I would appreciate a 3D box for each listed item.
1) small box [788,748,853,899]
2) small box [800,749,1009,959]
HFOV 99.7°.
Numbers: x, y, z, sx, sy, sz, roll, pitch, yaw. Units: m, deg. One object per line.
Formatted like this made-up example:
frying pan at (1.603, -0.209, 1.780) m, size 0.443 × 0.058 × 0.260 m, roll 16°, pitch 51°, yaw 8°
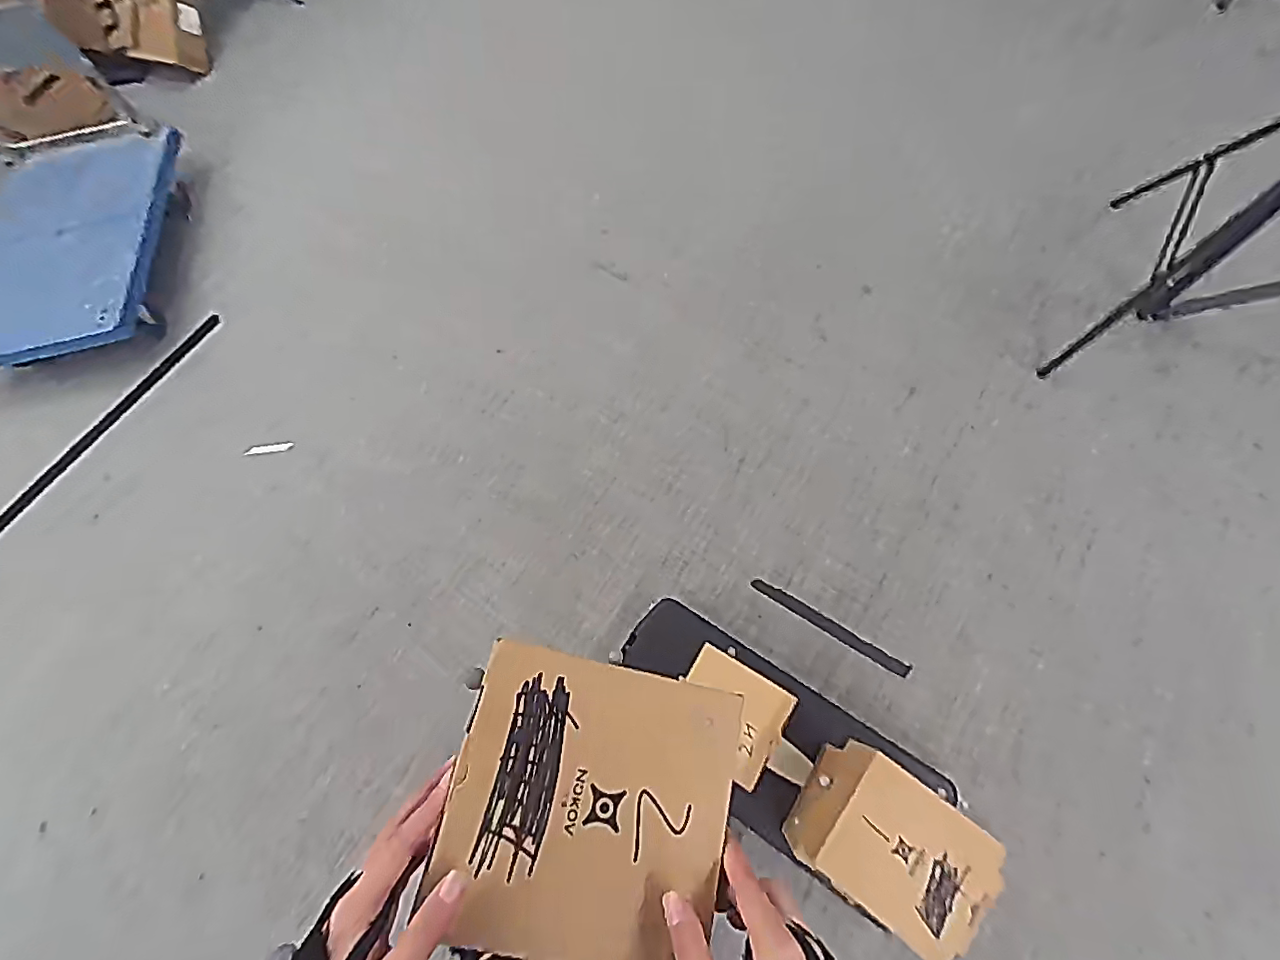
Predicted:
small box at (0.359, 0.569, 0.890) m, size 0.168 × 0.176 × 0.179 m, roll 29°, pitch 75°, yaw 17°
small box at (0.345, 0.496, 0.742) m, size 0.179 × 0.176 × 0.168 m, roll 35°, pitch 77°, yaw 19°
